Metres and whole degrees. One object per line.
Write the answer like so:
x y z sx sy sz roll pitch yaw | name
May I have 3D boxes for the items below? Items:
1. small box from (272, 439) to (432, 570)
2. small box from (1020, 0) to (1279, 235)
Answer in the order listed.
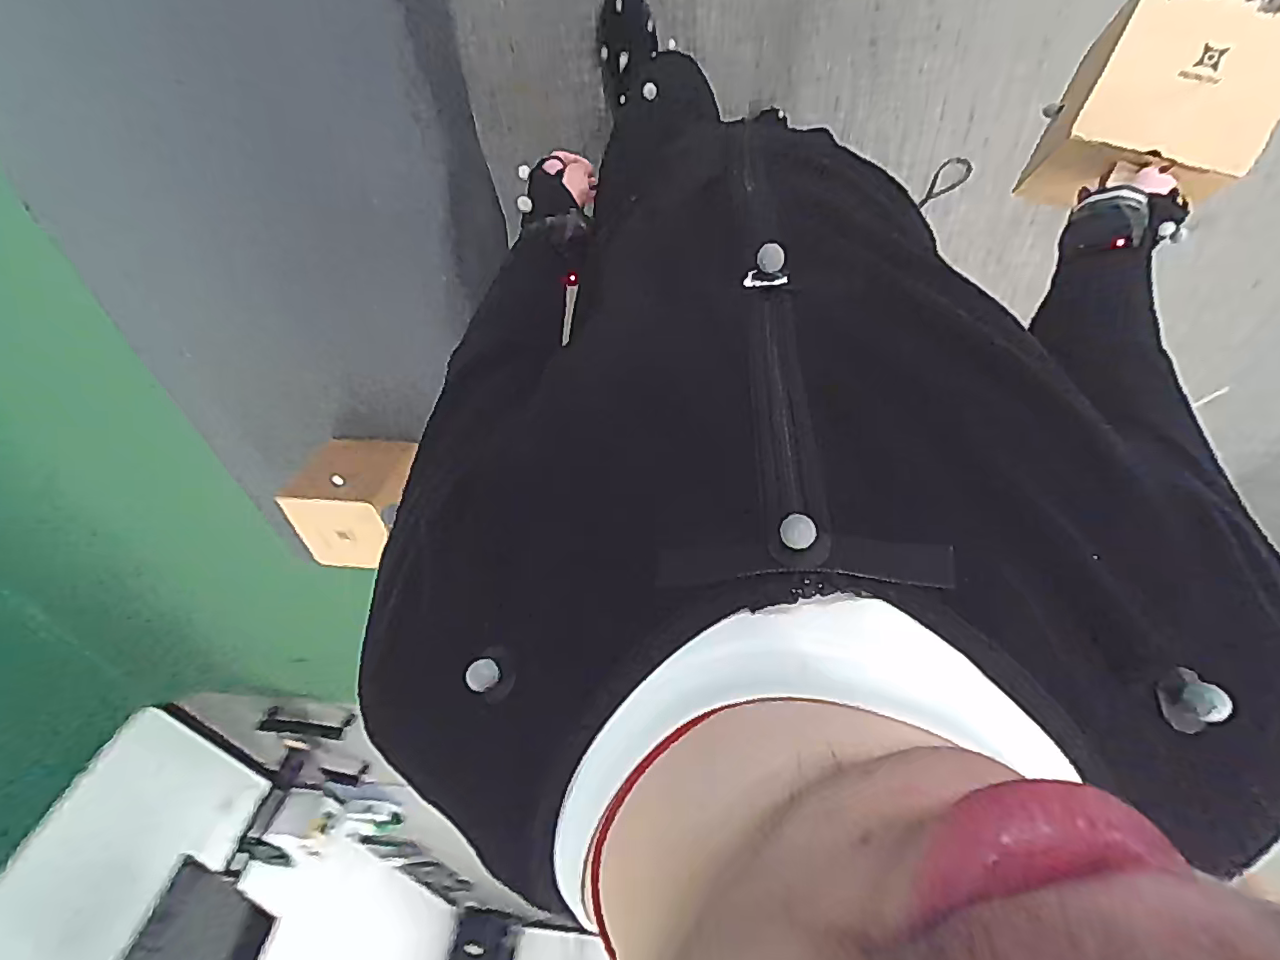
-0.496 0.040 0.970 0.179 0.176 0.168 3 130 7 | small box
0.577 -0.409 0.616 0.168 0.176 0.179 26 103 12 | small box
